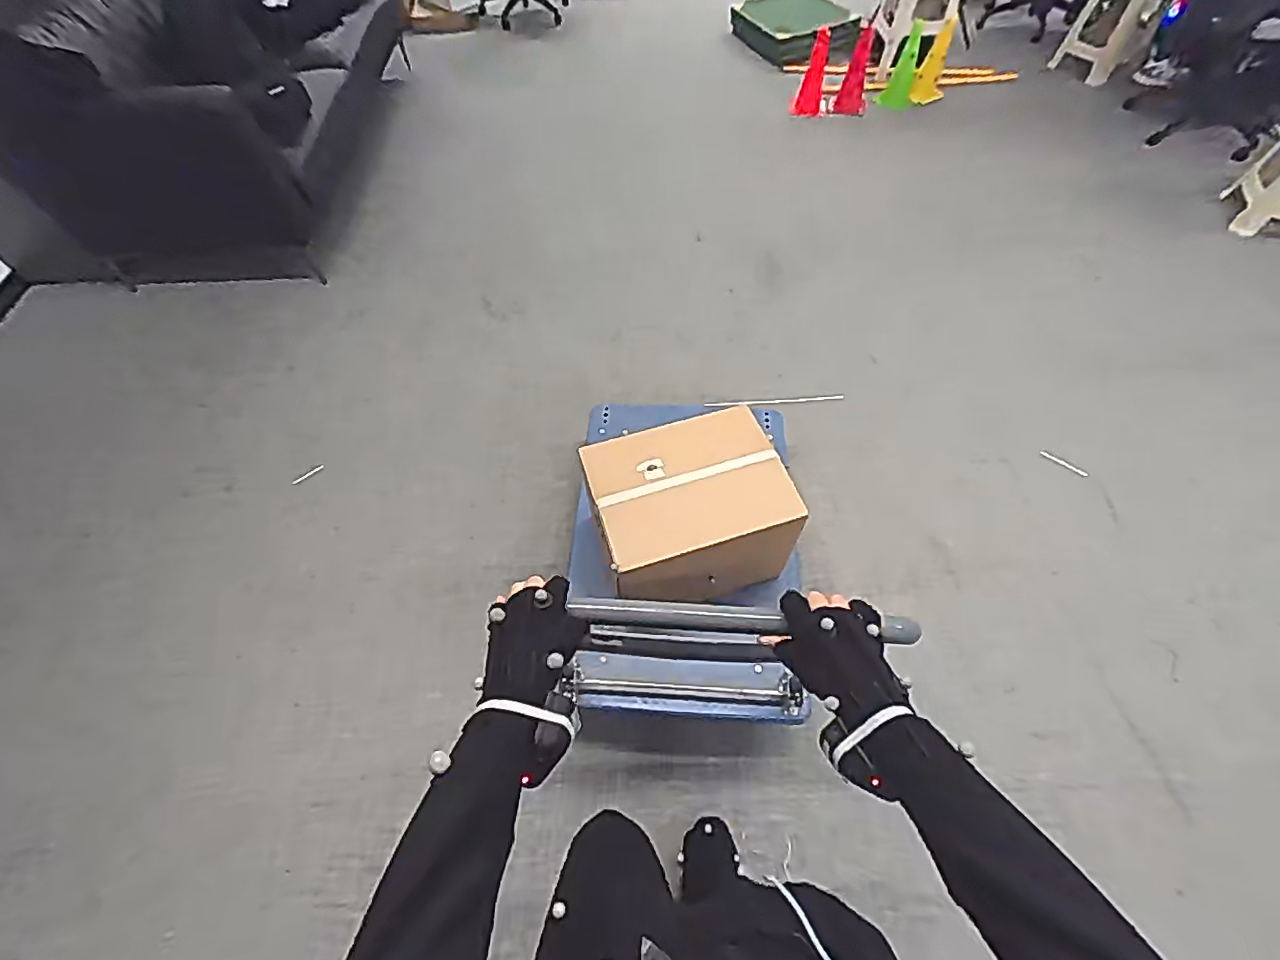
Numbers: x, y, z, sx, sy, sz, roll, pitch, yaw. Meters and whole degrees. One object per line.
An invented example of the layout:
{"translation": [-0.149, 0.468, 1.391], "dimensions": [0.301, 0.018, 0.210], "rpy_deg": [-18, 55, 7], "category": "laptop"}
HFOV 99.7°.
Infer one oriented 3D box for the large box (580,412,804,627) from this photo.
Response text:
{"translation": [0.109, 0.100, 1.271], "dimensions": [0.408, 0.320, 0.320], "rpy_deg": [-17, 57, -8], "category": "large box"}
